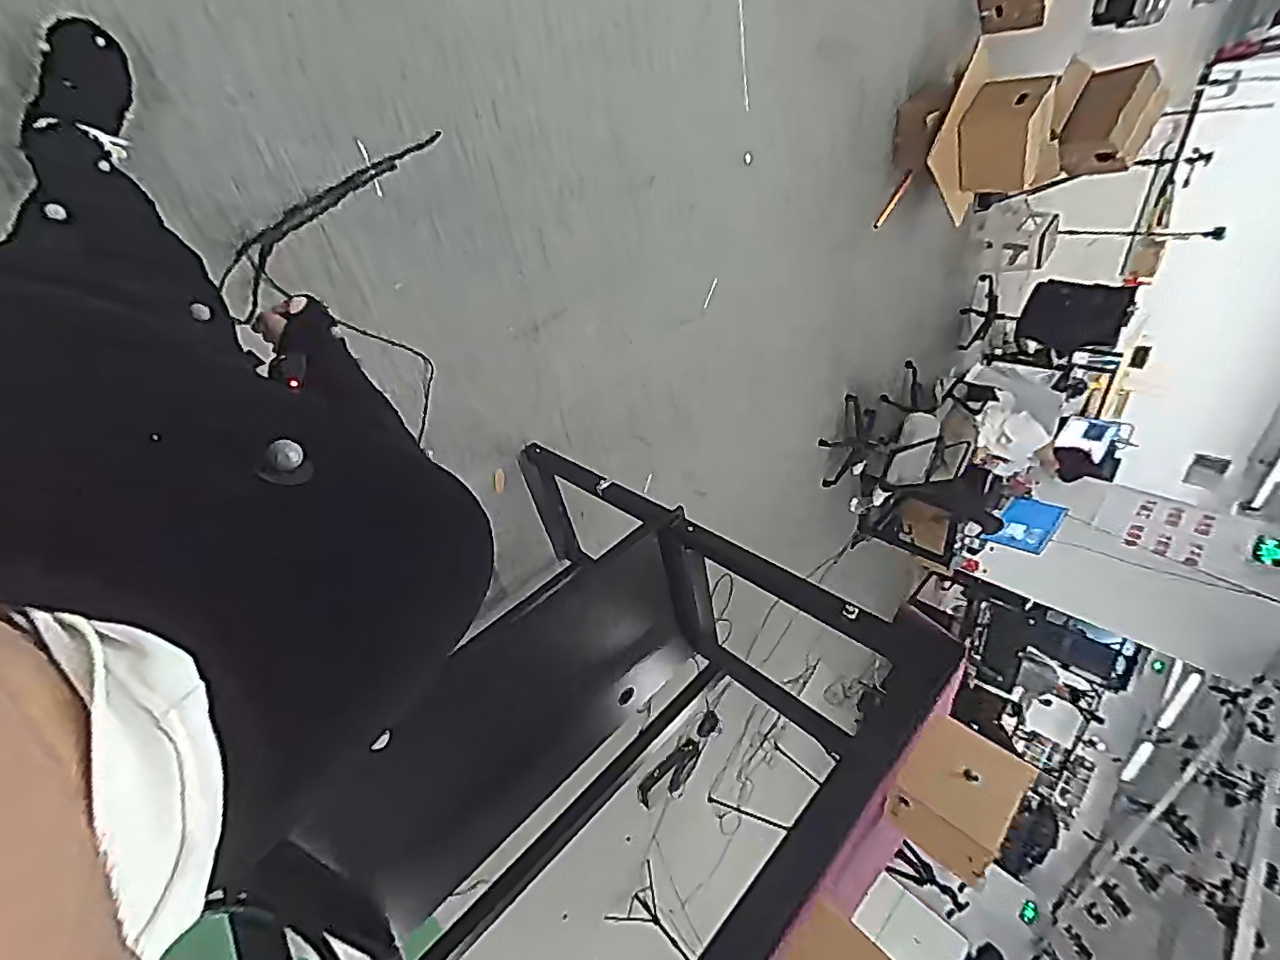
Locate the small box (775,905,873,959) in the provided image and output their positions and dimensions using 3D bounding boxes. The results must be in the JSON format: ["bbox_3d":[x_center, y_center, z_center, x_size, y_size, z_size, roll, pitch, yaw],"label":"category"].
[{"bbox_3d":[0.269,0.764,0.766,0.179,0.176,0.168,-34,131,-29],"label":"small box"}]

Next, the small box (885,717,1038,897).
[{"bbox_3d":[0.553,0.565,0.949,0.179,0.176,0.168,-37,133,-27],"label":"small box"}]
